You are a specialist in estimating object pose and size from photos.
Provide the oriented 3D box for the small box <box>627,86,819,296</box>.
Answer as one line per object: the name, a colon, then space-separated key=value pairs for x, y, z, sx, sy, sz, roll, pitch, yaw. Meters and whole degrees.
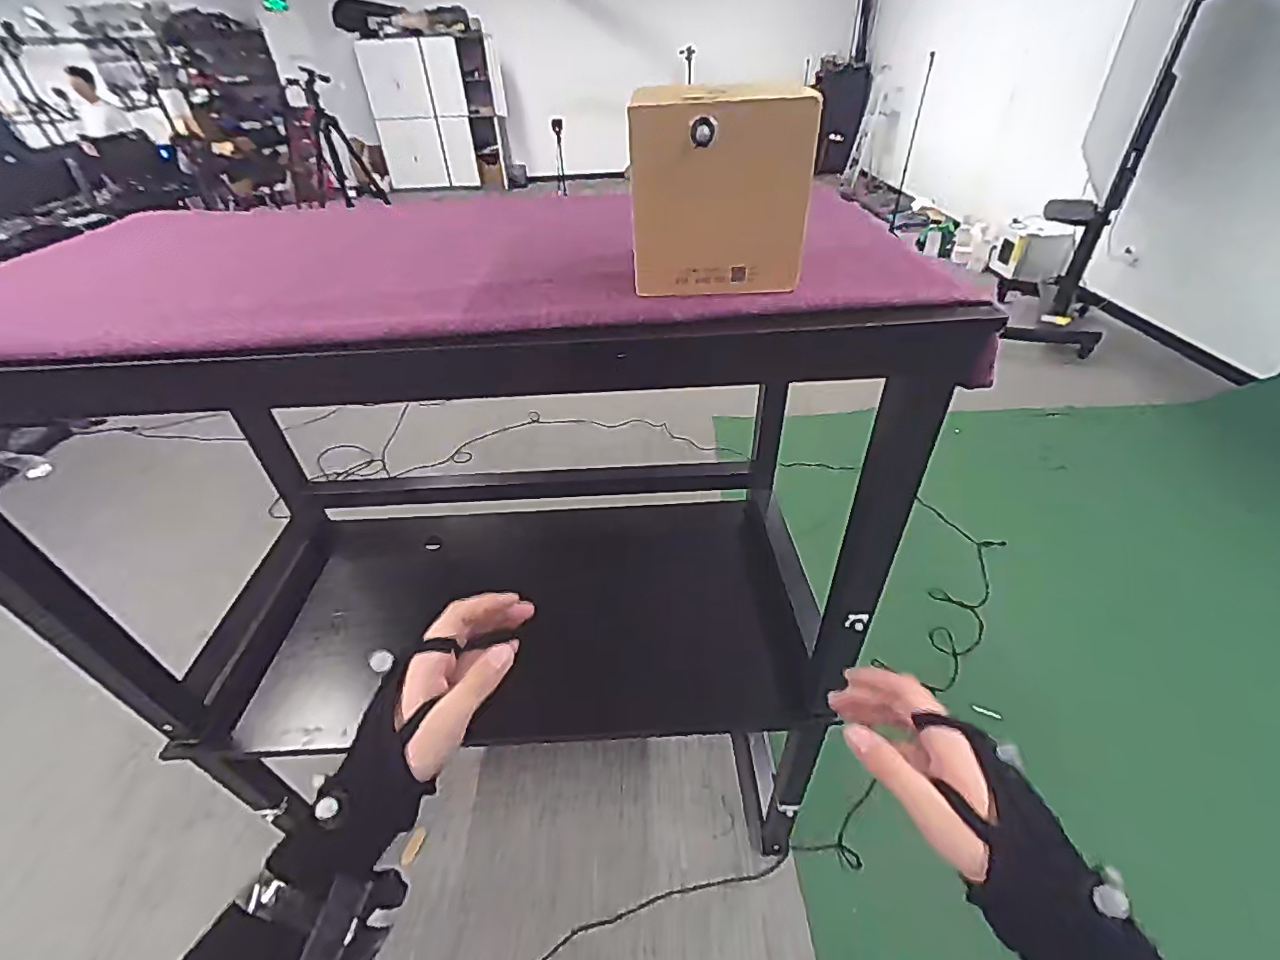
small box: x=0.078 y=-0.305 z=0.571 sx=0.168 sy=0.176 sz=0.179 roll=-1 pitch=39 yaw=4
